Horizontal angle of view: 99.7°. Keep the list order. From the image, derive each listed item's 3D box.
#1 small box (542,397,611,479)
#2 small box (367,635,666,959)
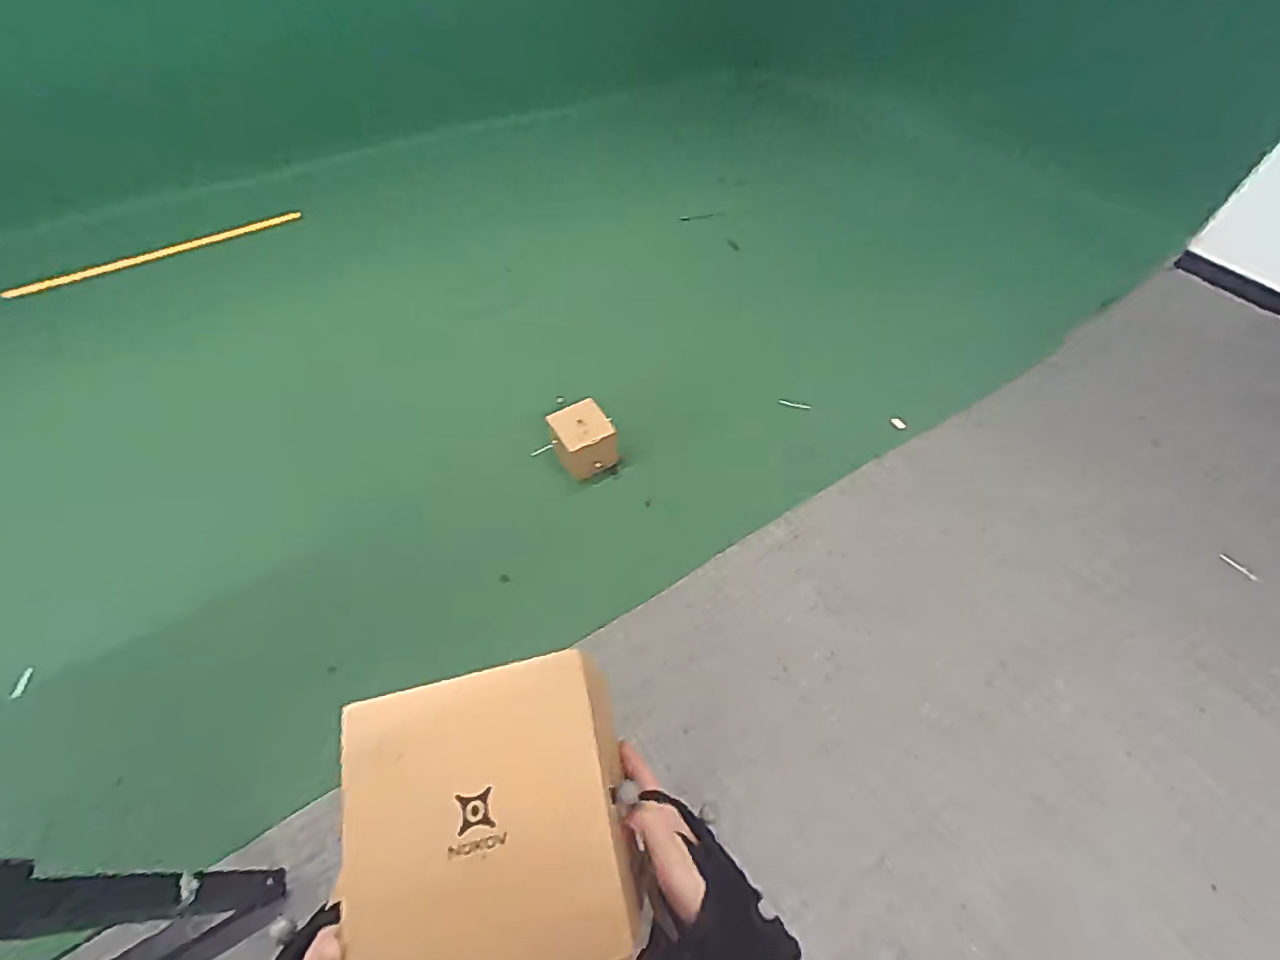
[{"bbox_3d":[-0.206,-0.135,1.777,0.168,0.176,0.179,-26,59,-19],"label":"small box"},{"bbox_3d":[-0.081,0.232,0.402,0.168,0.176,0.179,-11,65,-4],"label":"small box"}]
